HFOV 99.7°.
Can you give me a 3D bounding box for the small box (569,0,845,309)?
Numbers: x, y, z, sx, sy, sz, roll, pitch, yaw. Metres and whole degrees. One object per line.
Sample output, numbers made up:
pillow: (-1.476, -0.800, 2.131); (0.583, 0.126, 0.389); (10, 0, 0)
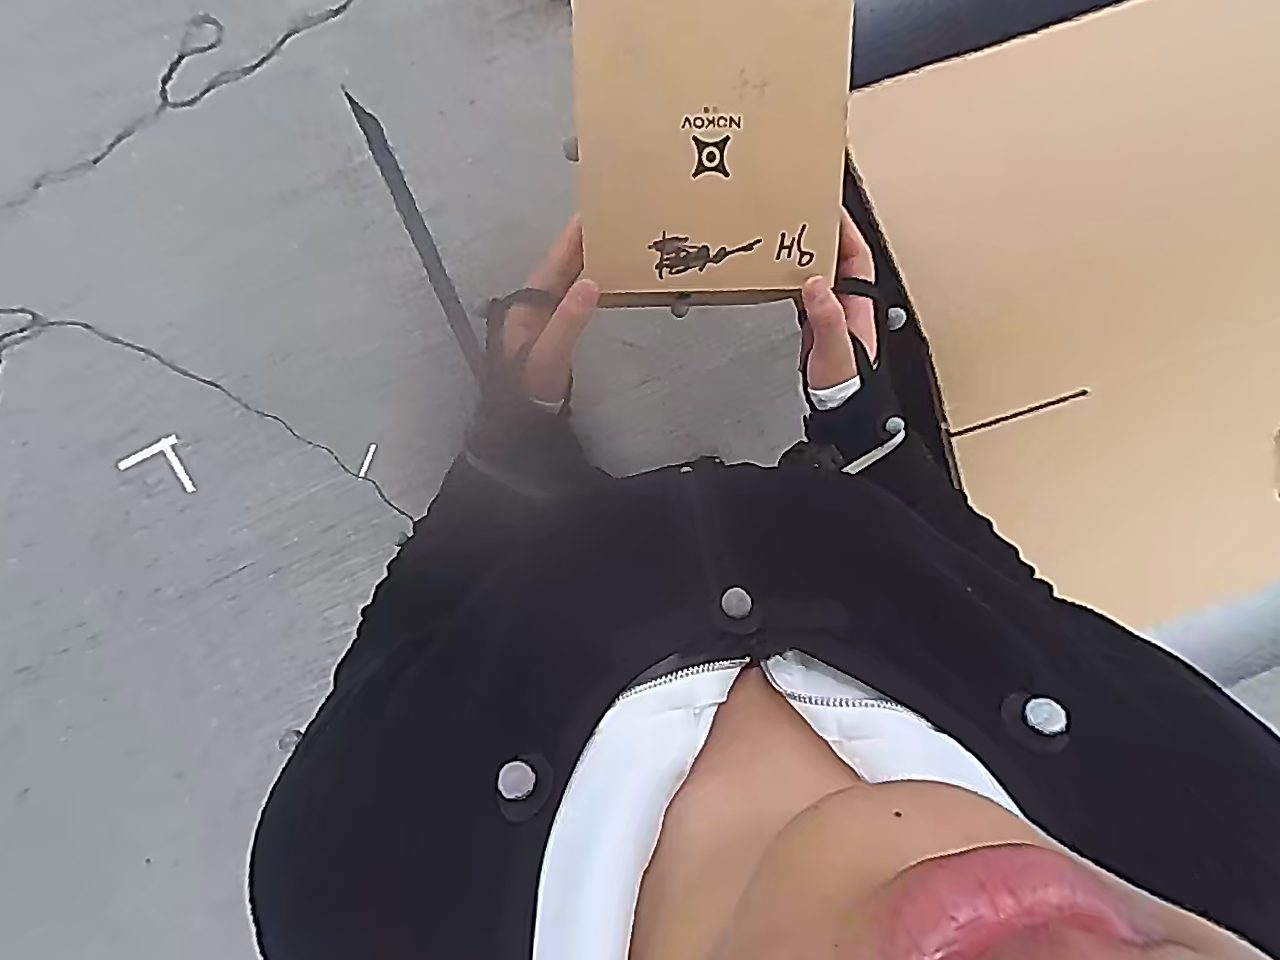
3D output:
small box: (0.036, -0.228, 0.405); (0.168, 0.176, 0.179); (-3, 104, -2)
